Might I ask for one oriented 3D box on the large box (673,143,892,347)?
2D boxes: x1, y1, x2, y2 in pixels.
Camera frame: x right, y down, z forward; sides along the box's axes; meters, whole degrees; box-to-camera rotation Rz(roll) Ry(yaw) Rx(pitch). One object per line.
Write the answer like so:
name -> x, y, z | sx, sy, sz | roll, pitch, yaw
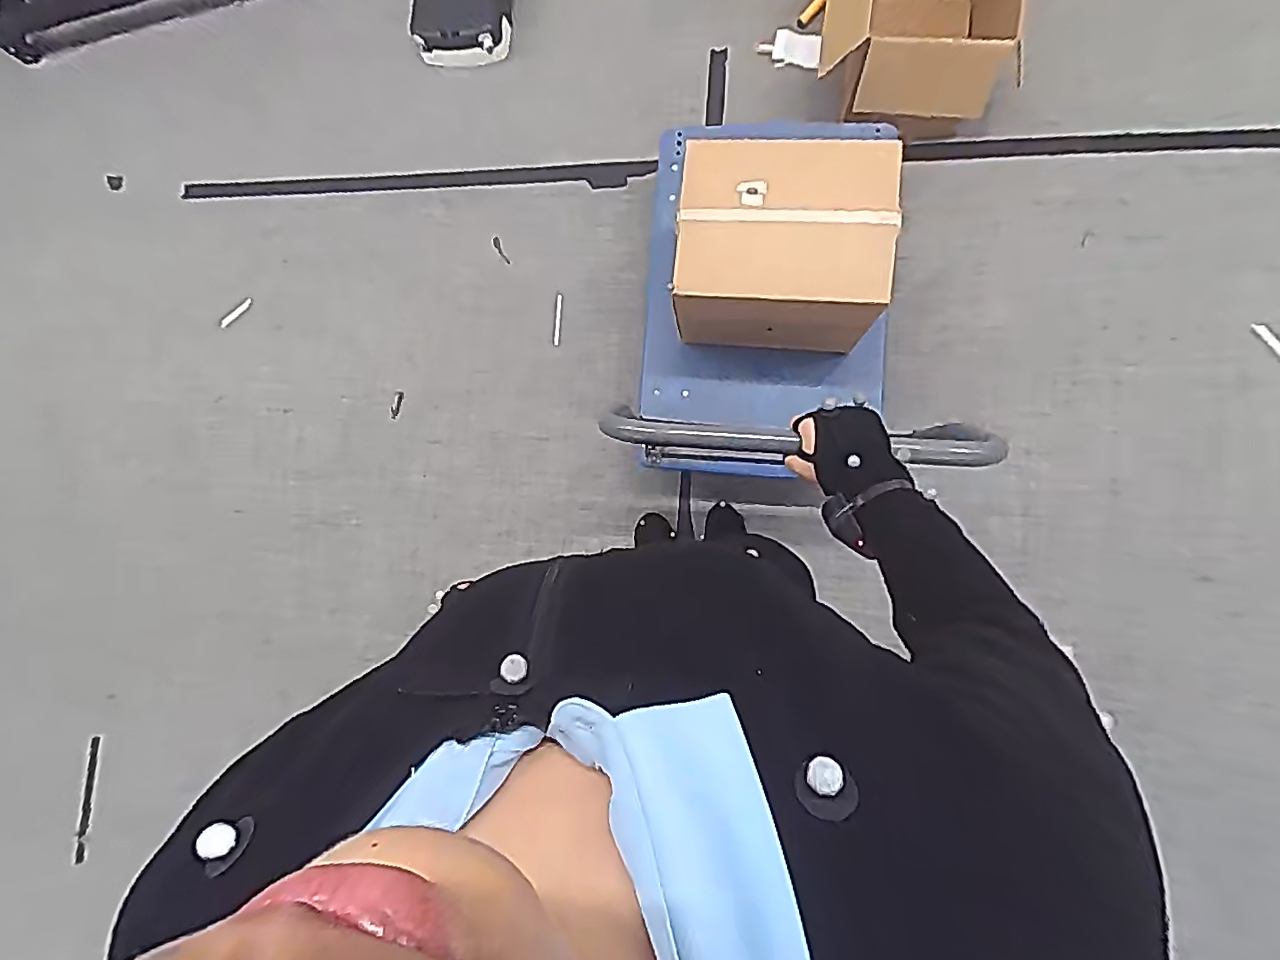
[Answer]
large box -> 0.297, -0.489, 1.189 | 0.408, 0.320, 0.320 | 5, 86, 9
